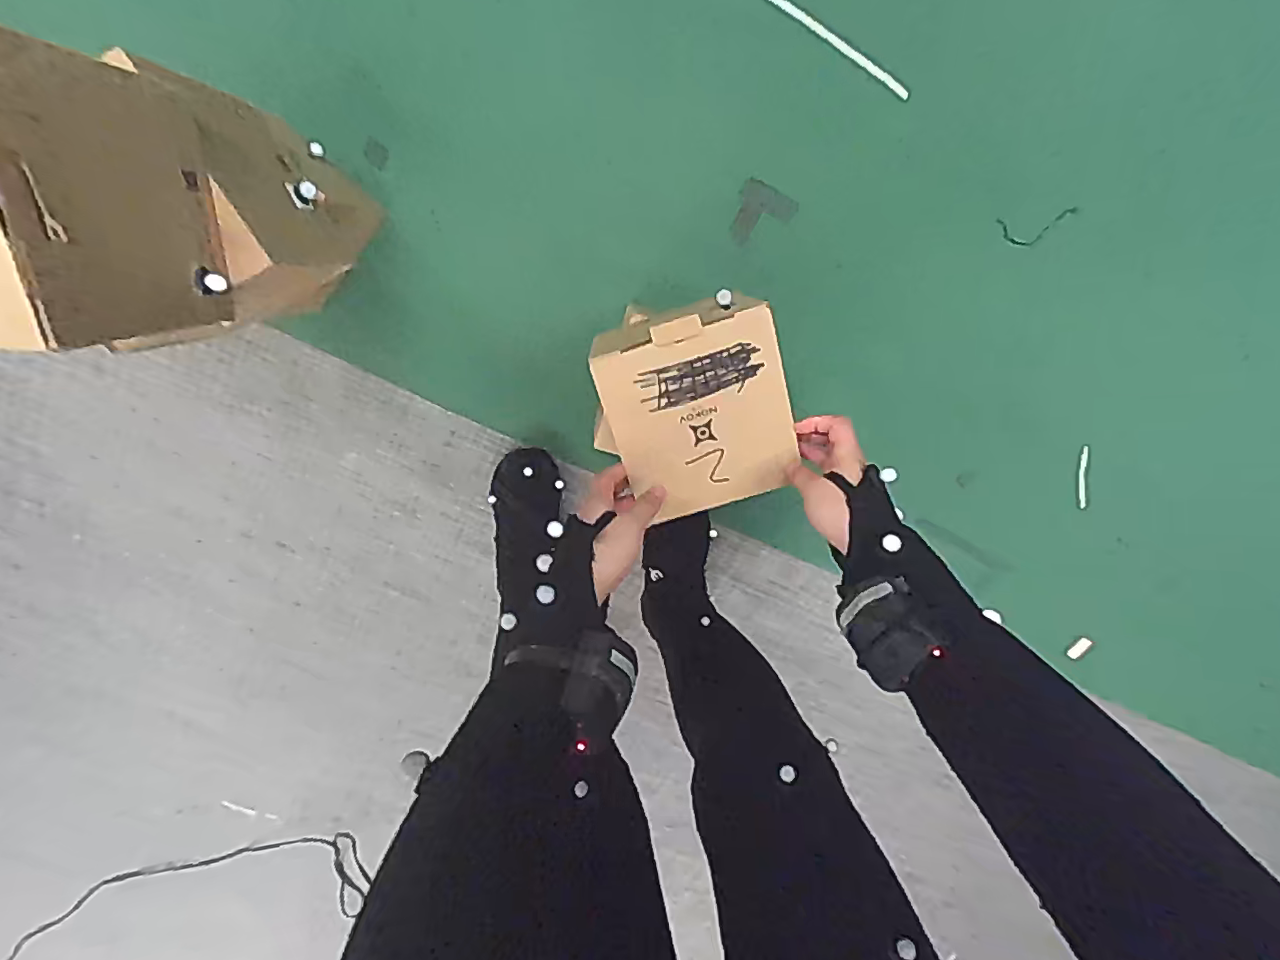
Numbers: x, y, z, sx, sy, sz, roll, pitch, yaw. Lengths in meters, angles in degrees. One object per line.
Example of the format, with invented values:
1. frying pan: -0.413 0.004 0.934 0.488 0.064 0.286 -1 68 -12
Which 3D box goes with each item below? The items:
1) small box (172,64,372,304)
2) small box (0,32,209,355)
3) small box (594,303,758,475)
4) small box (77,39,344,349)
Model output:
1. small box: -0.454 -0.322 0.635 0.168 0.176 0.179 40 105 -18
2. small box: -0.420 -0.182 0.342 0.179 0.176 0.168 3 114 -3
3. small box: 0.036 -0.133 0.741 0.168 0.176 0.179 15 110 -10
4. small box: -0.421 -0.242 0.495 0.179 0.176 0.168 -26 113 7
